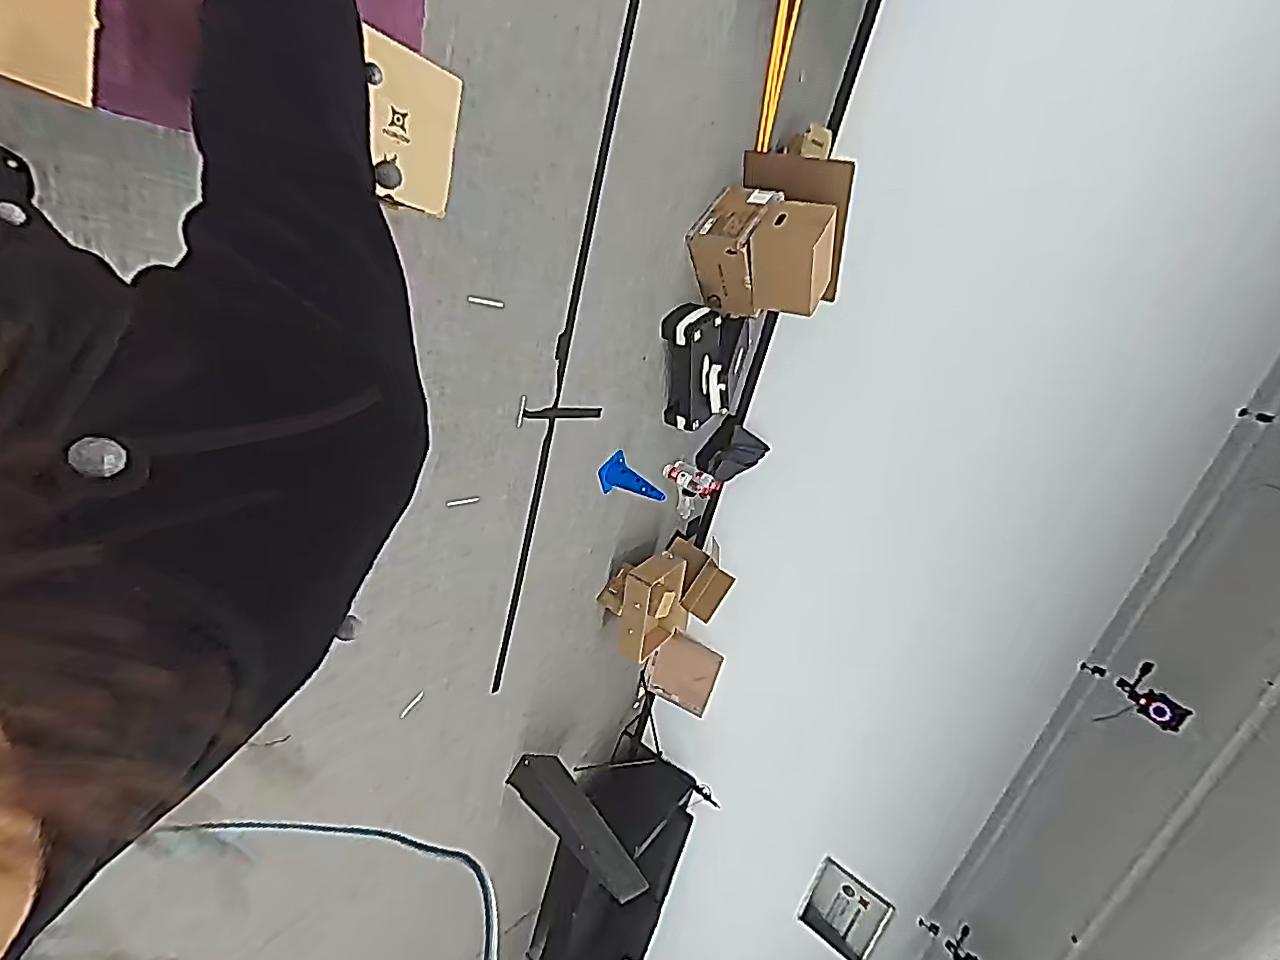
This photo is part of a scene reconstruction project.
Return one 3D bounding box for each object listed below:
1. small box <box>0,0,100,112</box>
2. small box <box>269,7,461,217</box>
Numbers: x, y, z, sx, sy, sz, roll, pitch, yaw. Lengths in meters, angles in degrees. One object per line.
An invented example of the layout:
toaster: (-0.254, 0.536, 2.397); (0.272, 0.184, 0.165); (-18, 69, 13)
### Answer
small box: (-0.571, -0.436, 0.436); (0.168, 0.176, 0.179); (-4, 117, -55)
small box: (-0.367, -0.474, 0.718); (0.168, 0.176, 0.179); (-9, 120, -53)
